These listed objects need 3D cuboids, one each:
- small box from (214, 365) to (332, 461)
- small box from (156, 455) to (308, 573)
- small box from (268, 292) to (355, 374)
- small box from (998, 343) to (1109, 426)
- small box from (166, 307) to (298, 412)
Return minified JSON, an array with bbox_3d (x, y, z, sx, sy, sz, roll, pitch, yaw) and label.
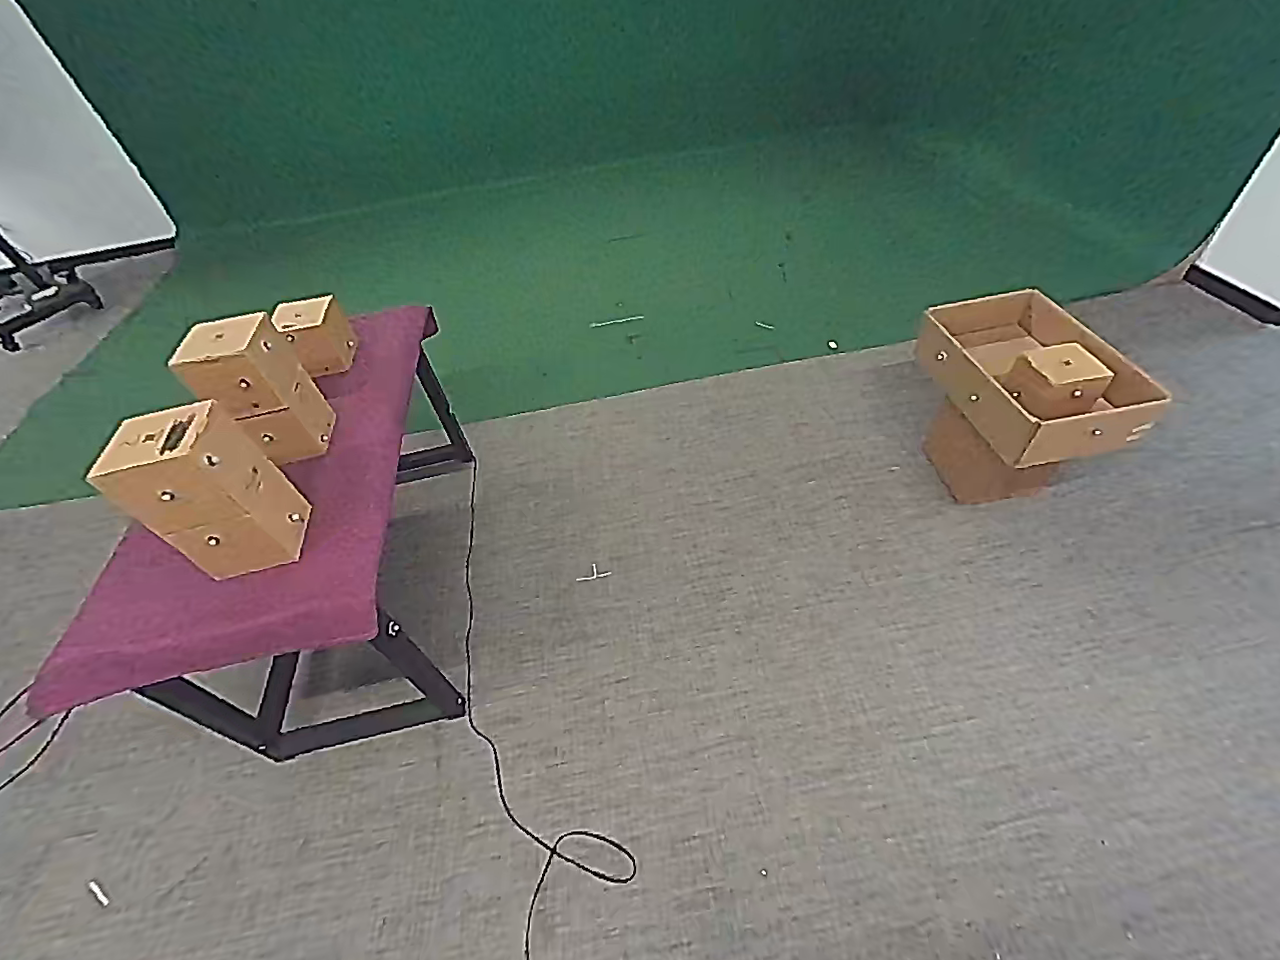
[{"bbox_3d":[-0.932,-0.168,1.394,0.179,0.176,0.168,-13,48,-3],"label":"small box"},{"bbox_3d":[-0.859,0.077,1.159,0.179,0.176,0.168,-13,48,-4],"label":"small box"},{"bbox_3d":[-1.003,-0.448,1.657,0.168,0.176,0.179,-12,48,-2],"label":"small box"},{"bbox_3d":[1.234,-0.285,1.631,0.179,0.176,0.168,-10,49,0],"label":"small box"},{"bbox_3d":[-0.944,-0.277,1.274,0.168,0.176,0.179,-12,47,-4],"label":"small box"}]
